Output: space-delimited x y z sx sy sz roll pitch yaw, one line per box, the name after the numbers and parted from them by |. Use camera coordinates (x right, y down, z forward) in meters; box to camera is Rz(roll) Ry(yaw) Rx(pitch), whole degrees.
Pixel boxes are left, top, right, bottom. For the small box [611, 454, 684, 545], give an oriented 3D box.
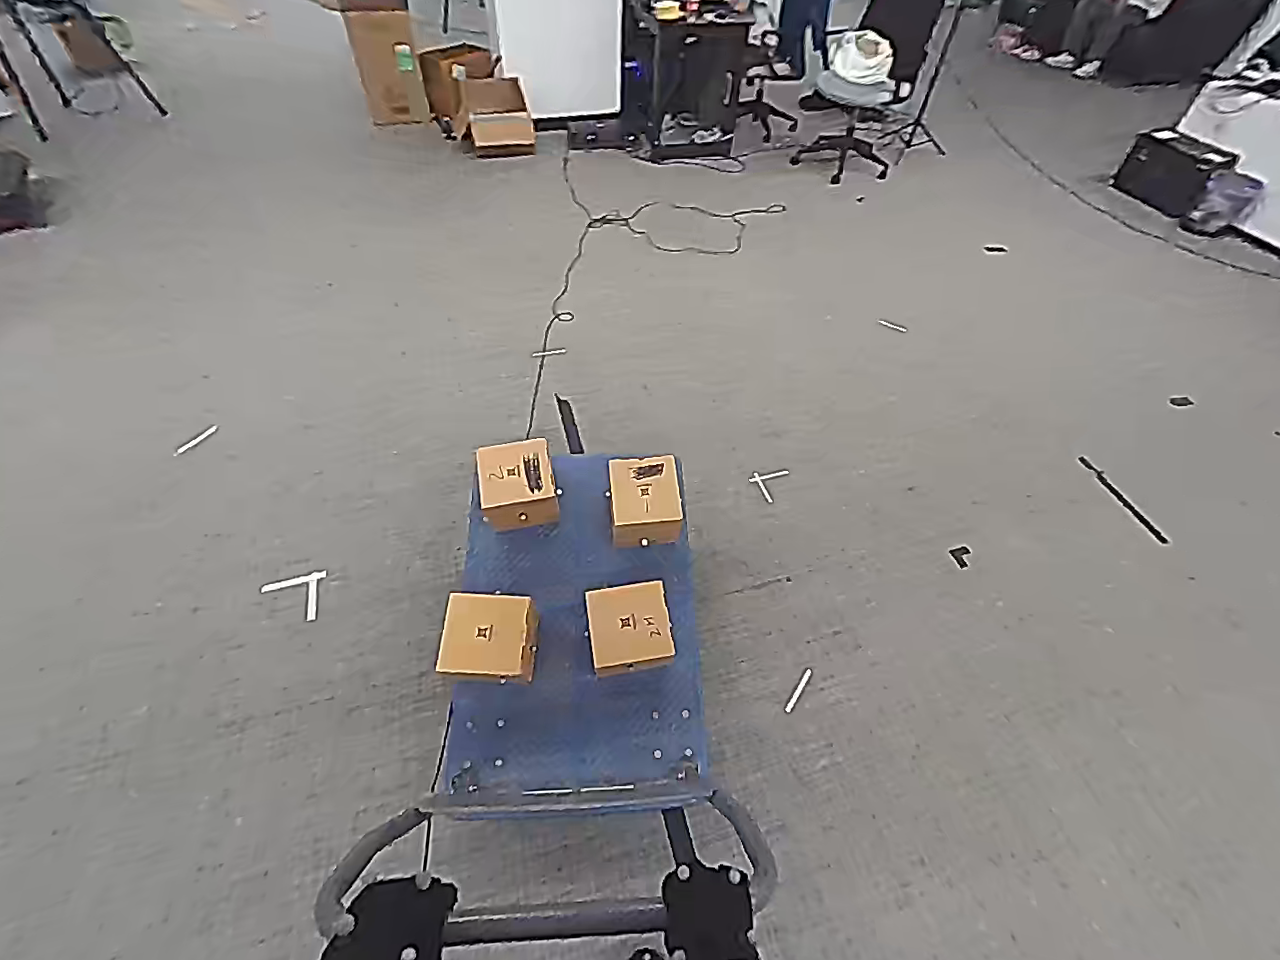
0.013 0.052 1.377 0.168 0.176 0.179 -5 66 -4 | small box

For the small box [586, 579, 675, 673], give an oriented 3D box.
-0.023 0.339 1.240 0.179 0.176 0.168 -7 66 -6 | small box

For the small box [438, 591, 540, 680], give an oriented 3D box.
-0.331 0.355 1.220 0.179 0.176 0.168 4 64 -3 | small box
